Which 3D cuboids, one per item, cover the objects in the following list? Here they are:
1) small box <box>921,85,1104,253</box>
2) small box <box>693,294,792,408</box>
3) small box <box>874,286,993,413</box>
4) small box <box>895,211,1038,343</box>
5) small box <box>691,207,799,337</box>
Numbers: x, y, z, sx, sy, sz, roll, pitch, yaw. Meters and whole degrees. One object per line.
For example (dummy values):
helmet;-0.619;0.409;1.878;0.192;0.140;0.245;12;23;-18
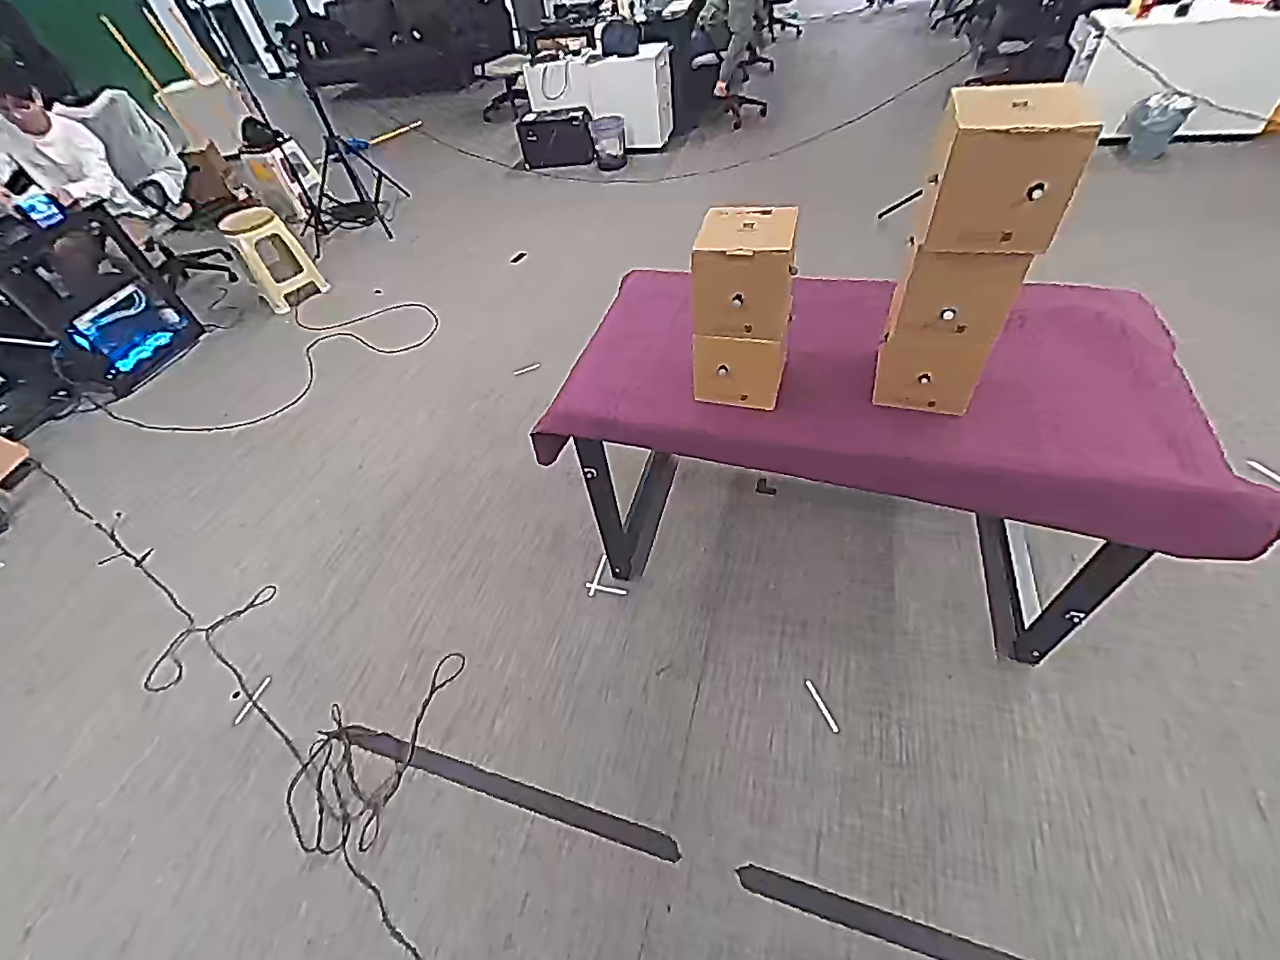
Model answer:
small box;0.525;-0.452;0.793;0.168;0.176;0.179;9;51;15
small box;0.213;-0.270;1.118;0.168;0.176;0.179;10;50;16
small box;0.562;-0.253;1.050;0.168;0.176;0.179;12;51;17
small box;0.548;-0.362;0.929;0.168;0.176;0.179;11;52;18
small box;0.196;-0.383;1.001;0.168;0.176;0.179;8;50;14
